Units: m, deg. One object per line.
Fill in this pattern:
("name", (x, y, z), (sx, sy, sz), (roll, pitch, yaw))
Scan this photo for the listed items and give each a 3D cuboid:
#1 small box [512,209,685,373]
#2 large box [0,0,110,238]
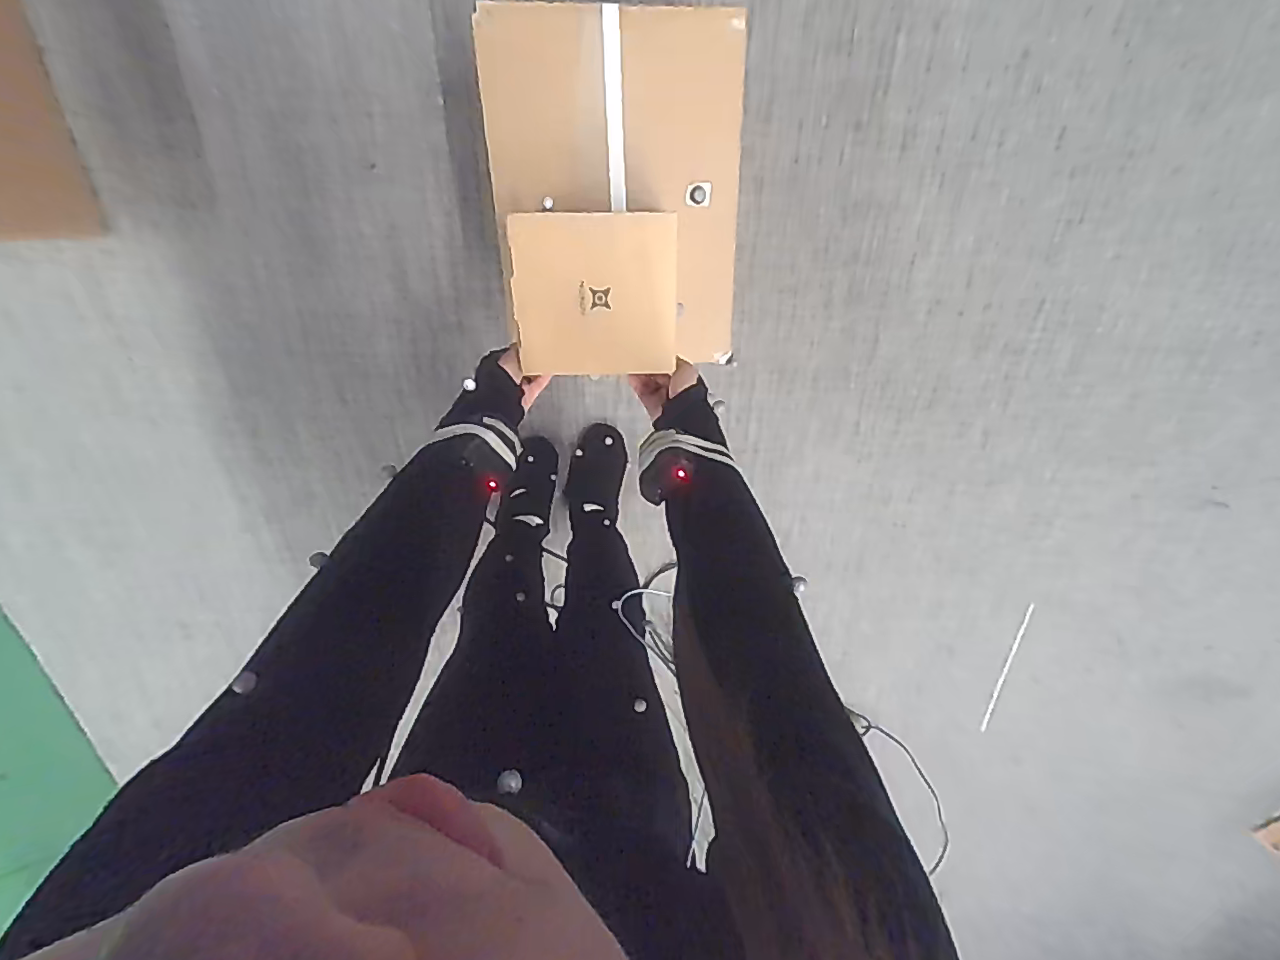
("small box", (-0.044, -0.230, 0.644), (0.179, 0.176, 0.168), (-1, 117, 0))
("large box", (-1.045, -0.531, 0.699), (0.320, 0.320, 0.408), (-2, 116, -3))
